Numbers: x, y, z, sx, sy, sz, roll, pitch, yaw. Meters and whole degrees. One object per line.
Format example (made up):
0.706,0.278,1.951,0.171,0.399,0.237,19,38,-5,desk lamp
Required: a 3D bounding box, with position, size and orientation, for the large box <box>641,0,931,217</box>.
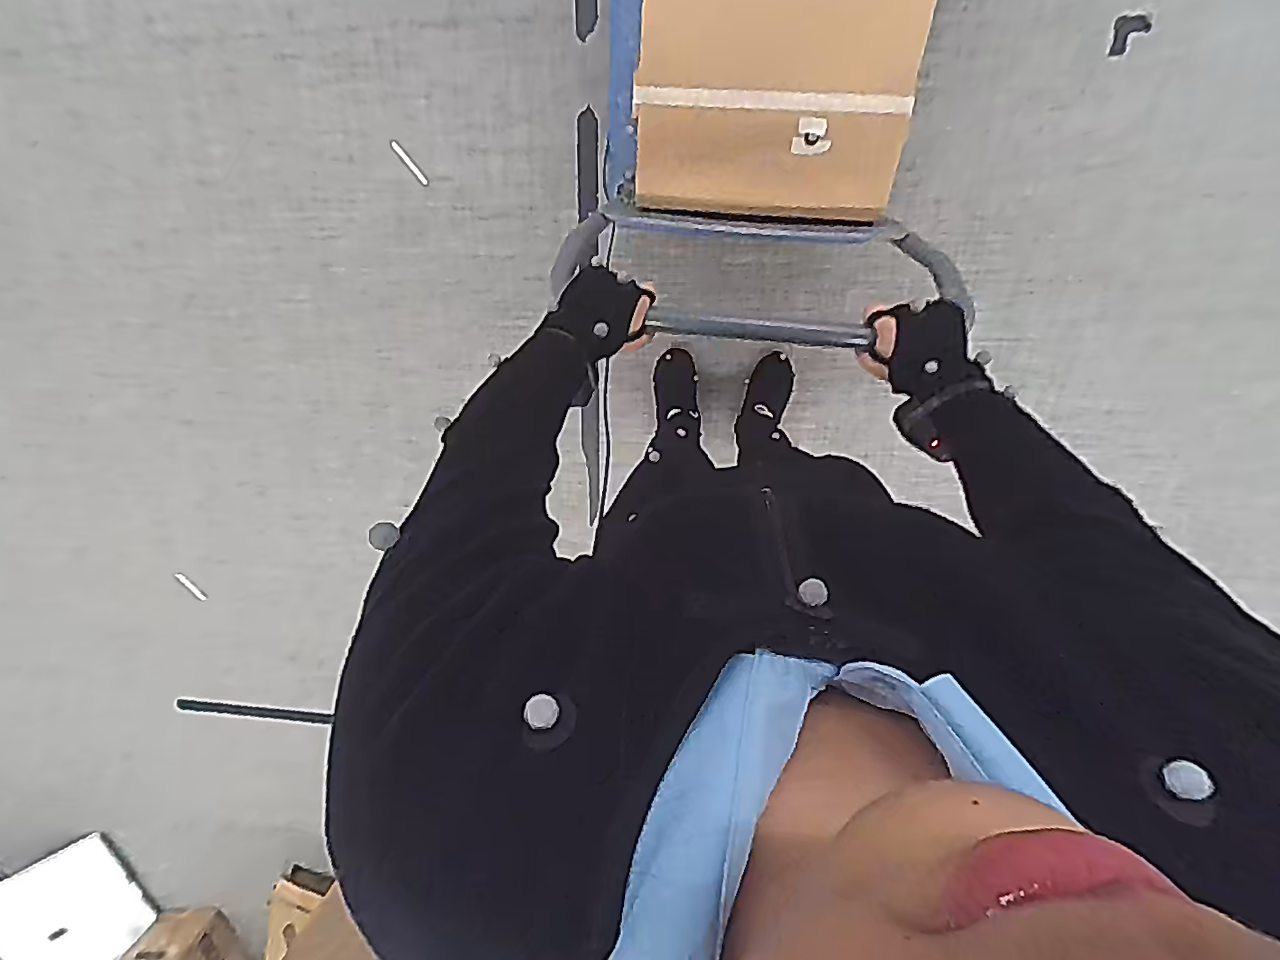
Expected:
0.216,-0.652,0.949,0.408,0.320,0.320,5,122,4,large box
